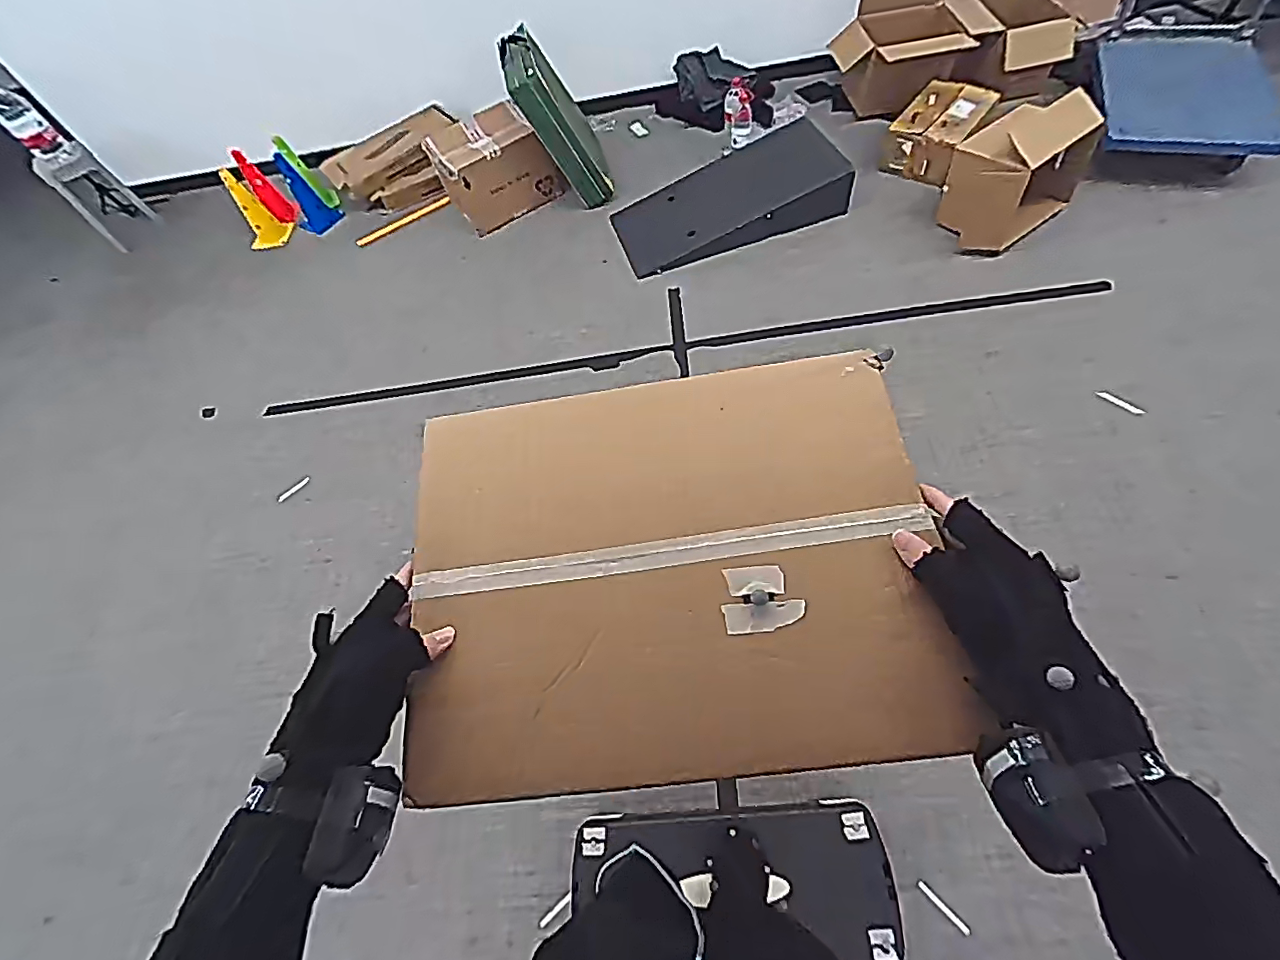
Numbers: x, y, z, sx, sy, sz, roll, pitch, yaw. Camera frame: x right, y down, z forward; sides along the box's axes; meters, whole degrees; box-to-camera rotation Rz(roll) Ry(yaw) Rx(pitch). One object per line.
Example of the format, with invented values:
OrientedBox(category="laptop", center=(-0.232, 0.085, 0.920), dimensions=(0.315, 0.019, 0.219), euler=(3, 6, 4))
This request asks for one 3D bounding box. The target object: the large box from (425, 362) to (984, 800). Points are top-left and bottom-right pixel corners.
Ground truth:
OrientedBox(category="large box", center=(0.040, 0.121, 0.571), dimensions=(0.408, 0.320, 0.320), euler=(-8, 67, 4))

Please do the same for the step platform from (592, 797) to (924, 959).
OrientedBox(category="step platform", center=(0.237, 0.887, 1.193), dimensions=(0.684, 0.204, 0.286), euler=(-7, 59, 4))
